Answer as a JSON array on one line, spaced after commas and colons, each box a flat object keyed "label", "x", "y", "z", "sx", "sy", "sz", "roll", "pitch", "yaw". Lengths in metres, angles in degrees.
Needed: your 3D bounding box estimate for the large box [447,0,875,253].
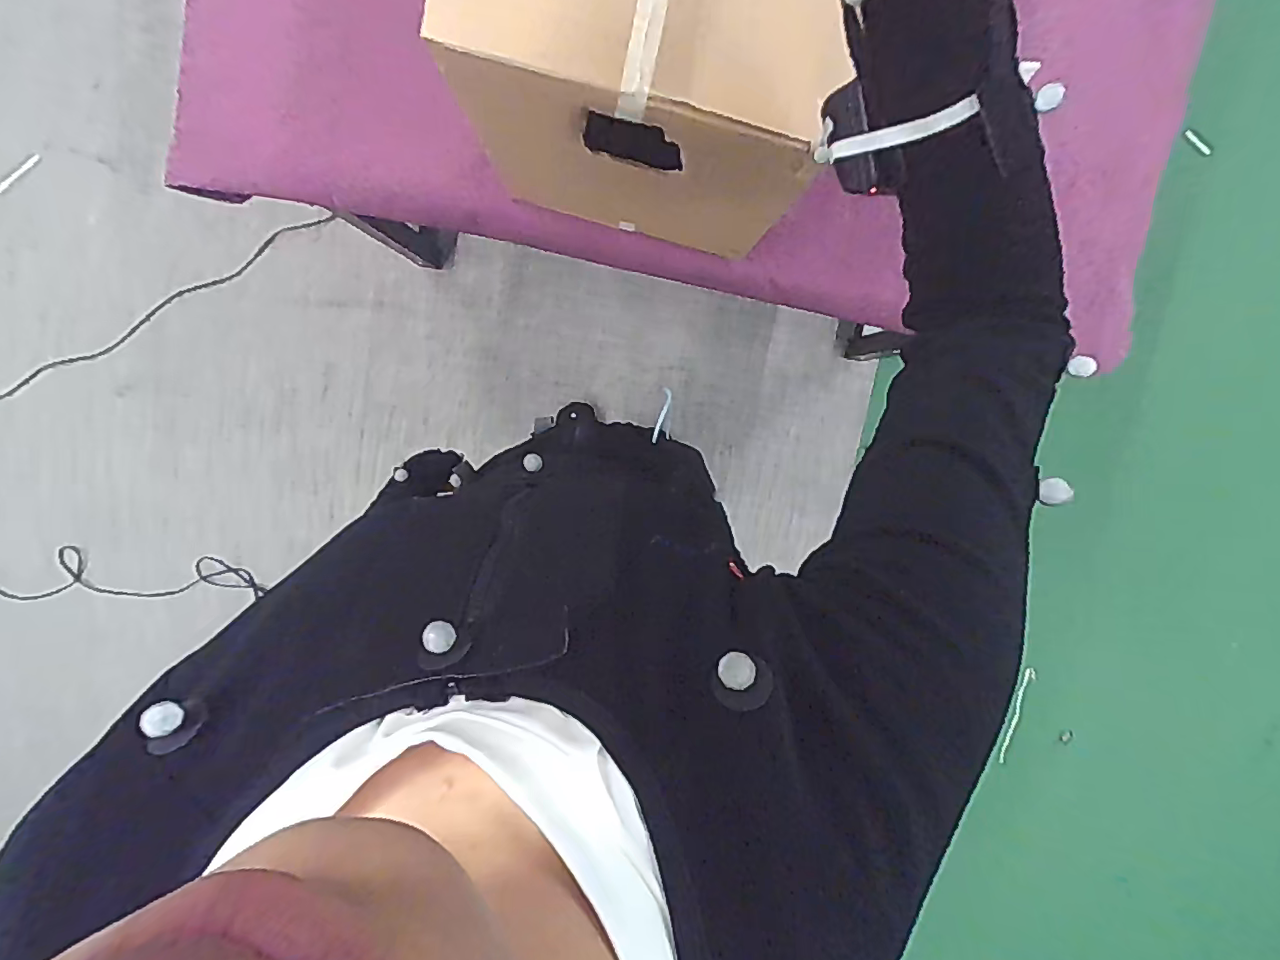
[{"label": "large box", "x": 0.040, "y": -0.499, "z": 0.532, "sx": 0.320, "sy": 0.320, "sz": 0.408, "roll": 13, "pitch": 99, "yaw": -4}]
